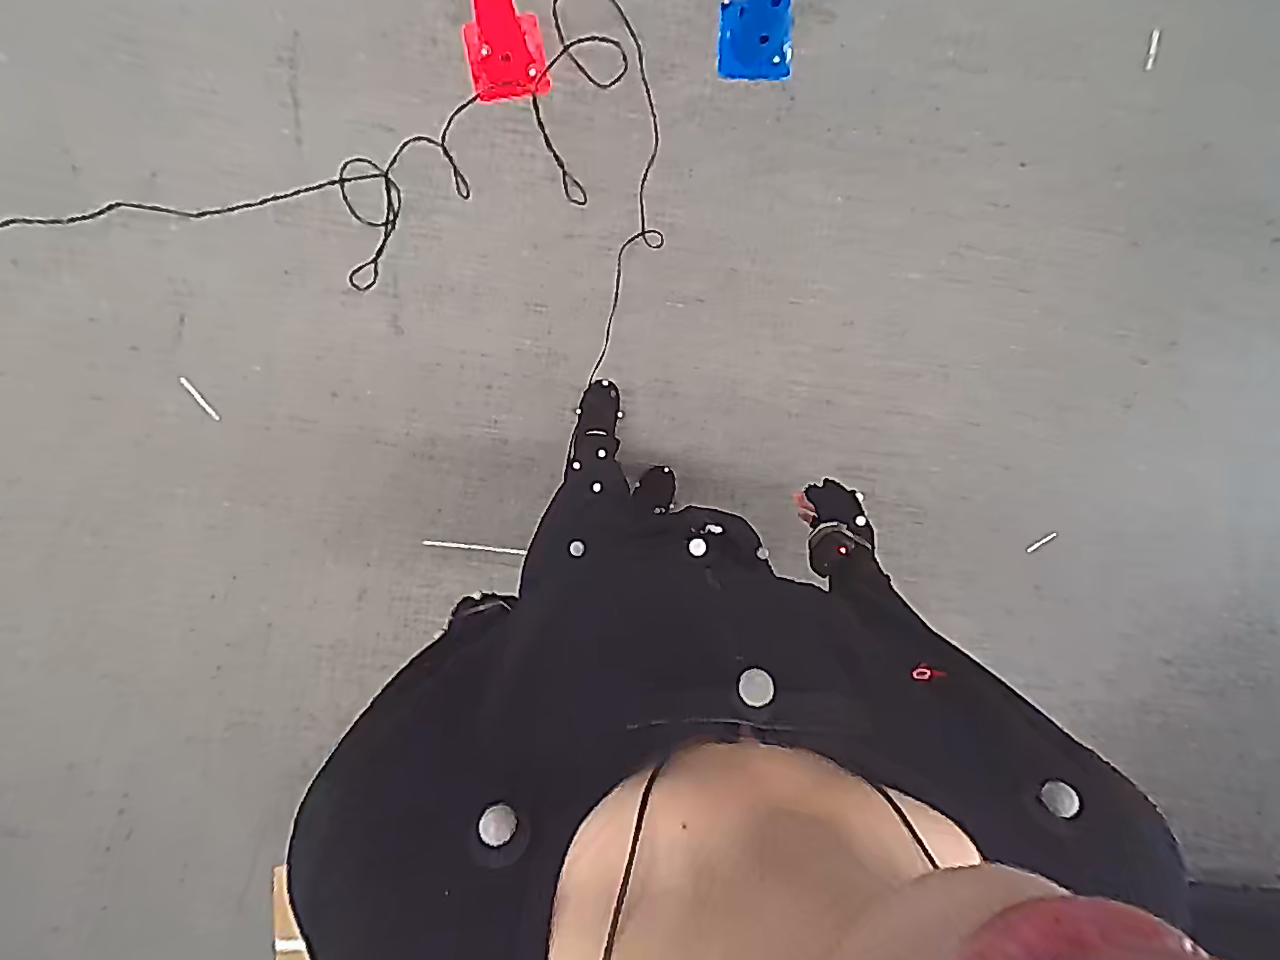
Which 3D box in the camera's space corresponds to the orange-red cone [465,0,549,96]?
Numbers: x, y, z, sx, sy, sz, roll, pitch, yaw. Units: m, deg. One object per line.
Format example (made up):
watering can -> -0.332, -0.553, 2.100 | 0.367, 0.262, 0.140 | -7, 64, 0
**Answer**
orange-red cone -> -0.332, -1.095, 1.230 | 0.198, 0.360, 0.199 | -11, 93, -3
